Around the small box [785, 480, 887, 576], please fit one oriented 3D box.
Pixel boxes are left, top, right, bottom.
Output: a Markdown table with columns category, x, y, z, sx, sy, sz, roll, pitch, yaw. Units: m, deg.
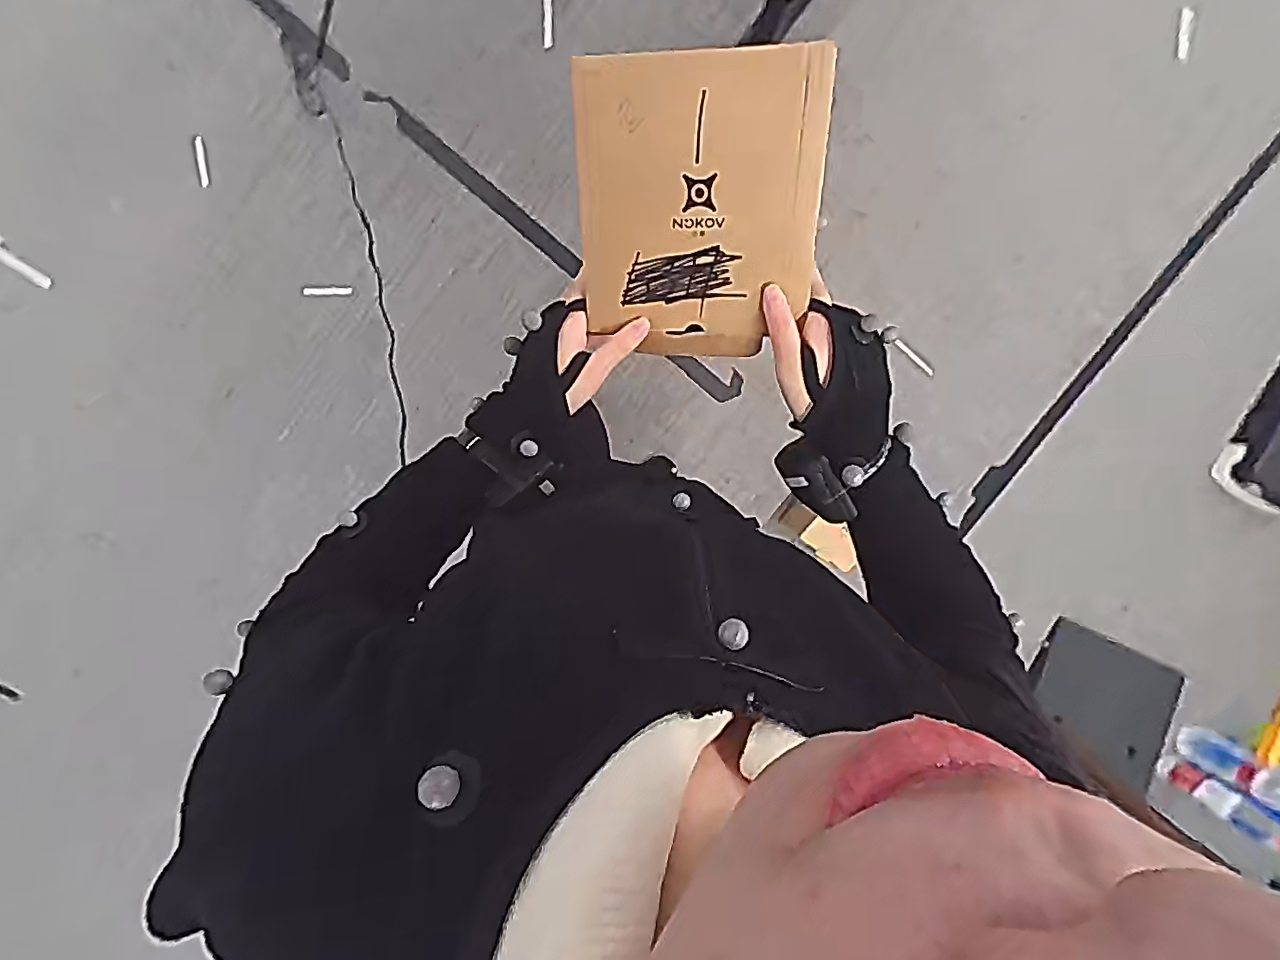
| category | x | y | z | sx | sy | sz | roll | pitch | yaw |
| --- | --- | --- | --- | --- | --- | --- | --- | --- | --- |
| small box | 0.513 | 0.122 | 1.455 | 0.168 | 0.176 | 0.179 | 38 | 95 | -9 |

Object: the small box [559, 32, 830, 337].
| category | x | y | z | sx | sy | sz | roll | pitch | yaw |
| --- | --- | --- | --- | --- | --- | --- | --- | --- | --- |
| small box | 0.043 | -0.219 | 0.430 | 0.168 | 0.176 | 0.179 | 1 | 116 | 7 |
